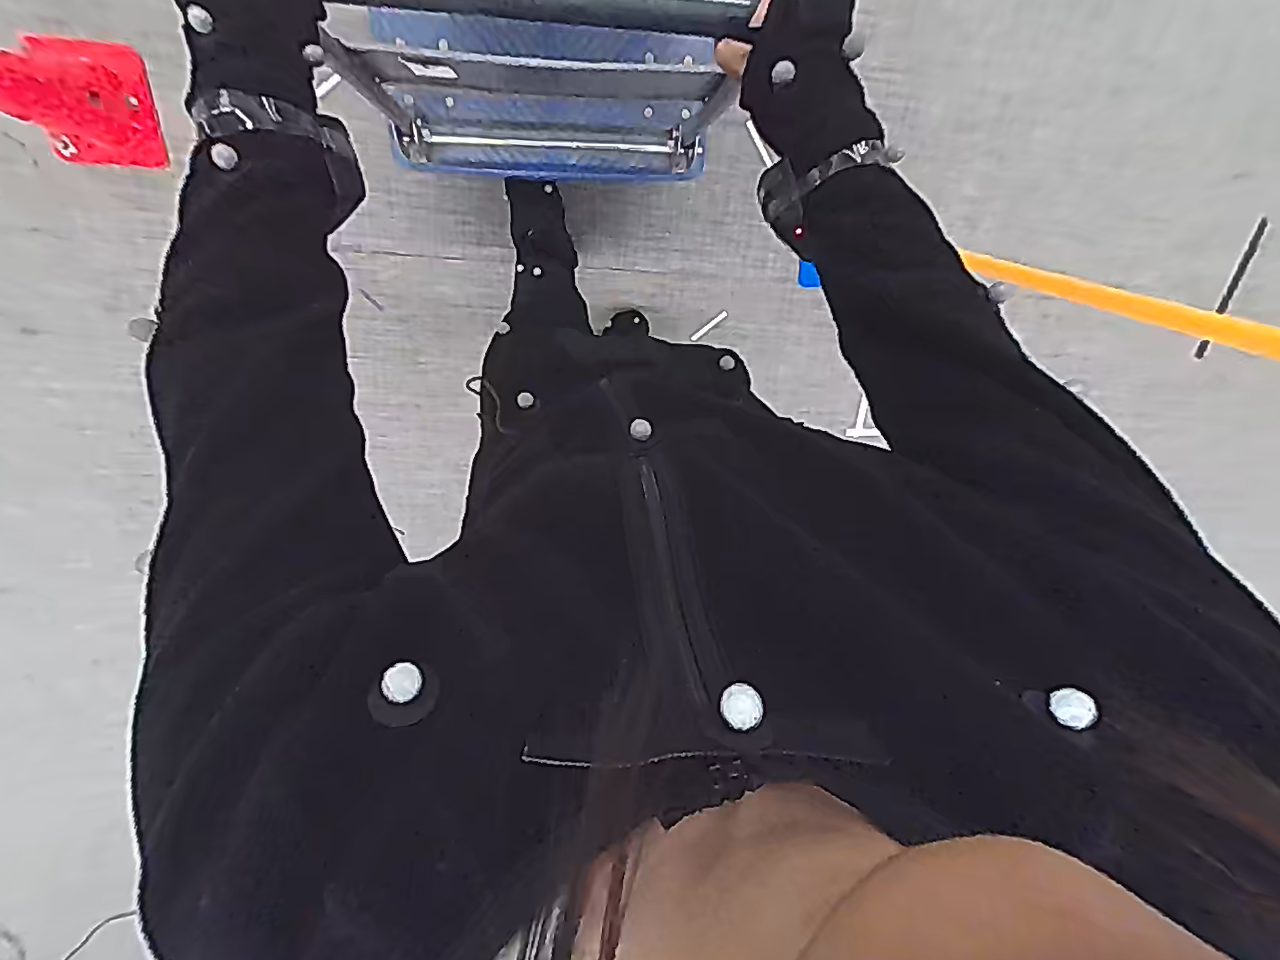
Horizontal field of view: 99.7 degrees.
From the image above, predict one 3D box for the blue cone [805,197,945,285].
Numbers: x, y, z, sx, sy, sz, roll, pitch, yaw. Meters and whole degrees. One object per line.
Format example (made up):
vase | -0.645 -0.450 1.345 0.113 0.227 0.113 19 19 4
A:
blue cone | 0.510 -0.502 1.146 0.193 0.380 0.192 -3 114 -7
